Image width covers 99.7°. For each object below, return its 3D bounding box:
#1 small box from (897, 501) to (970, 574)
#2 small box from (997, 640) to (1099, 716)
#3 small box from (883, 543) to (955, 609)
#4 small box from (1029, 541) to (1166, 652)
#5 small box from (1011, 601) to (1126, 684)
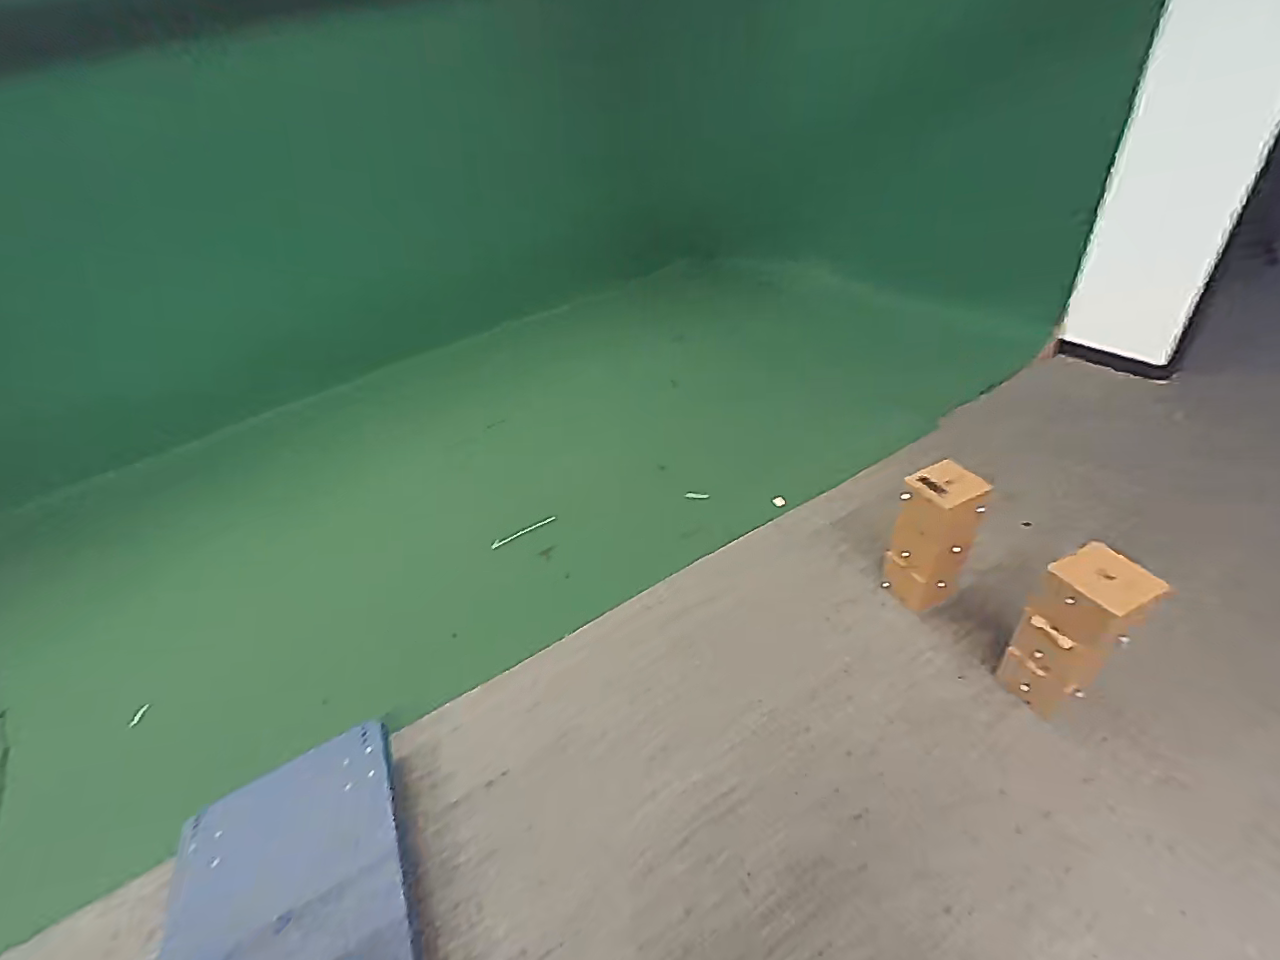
[{"bbox_3d":[0.955,0.188,1.777,0.168,0.176,0.179,-3,39,14],"label":"small box"},{"bbox_3d":[1.159,0.537,1.545,0.179,0.176,0.168,-24,41,-13],"label":"small box"},{"bbox_3d":[0.966,0.314,1.868,0.179,0.176,0.168,-21,40,-12],"label":"small box"},{"bbox_3d":[1.116,0.288,1.337,0.168,0.176,0.179,-22,40,-10],"label":"small box"},{"bbox_3d":[1.141,0.408,1.444,0.179,0.176,0.168,-21,39,-10],"label":"small box"}]
